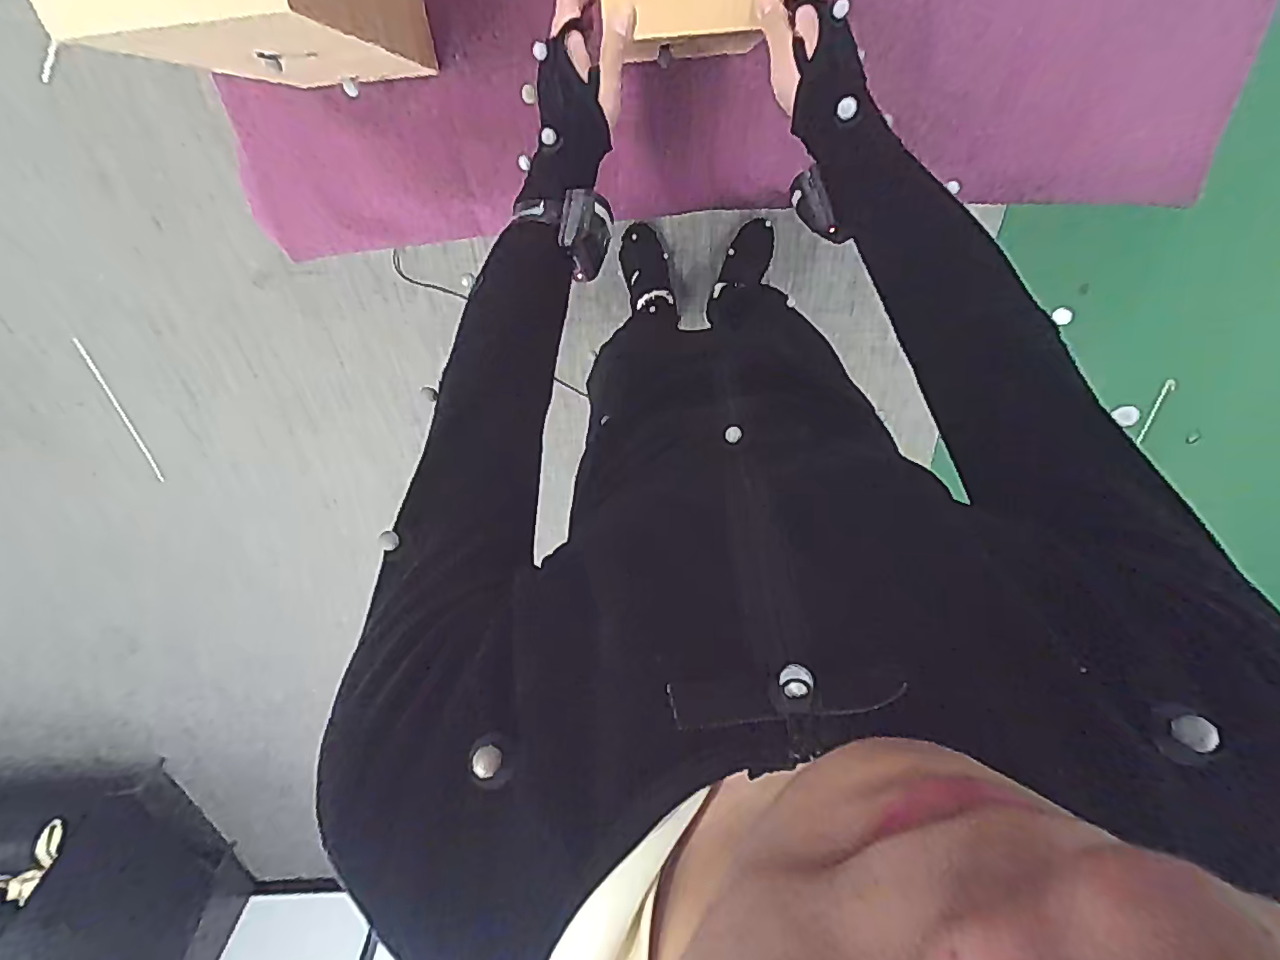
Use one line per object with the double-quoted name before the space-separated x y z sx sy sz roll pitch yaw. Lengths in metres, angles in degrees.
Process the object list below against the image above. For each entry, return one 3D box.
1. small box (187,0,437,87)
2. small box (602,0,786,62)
"small box" -0.315 -0.496 0.515 0.168 0.176 0.179 -5 122 1
"small box" 0.045 -0.519 0.516 0.168 0.176 0.179 -4 121 1
